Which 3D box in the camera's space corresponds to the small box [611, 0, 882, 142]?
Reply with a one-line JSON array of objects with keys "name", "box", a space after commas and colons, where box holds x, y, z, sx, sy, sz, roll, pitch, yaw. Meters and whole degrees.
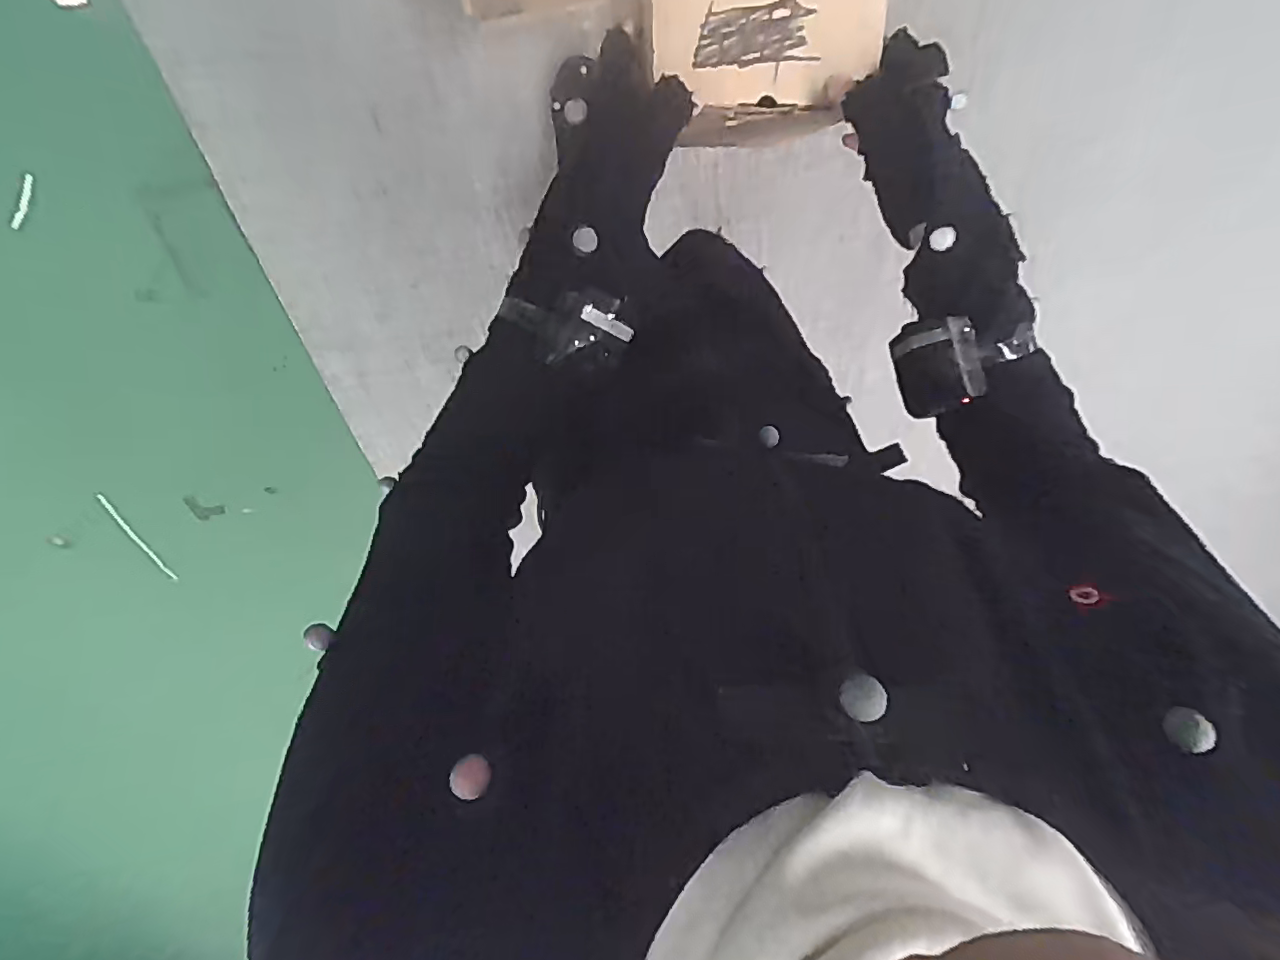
[{"name": "small box", "box": [0.070, -0.375, 0.418, 0.168, 0.176, 0.179, -6, 113, -9]}]
